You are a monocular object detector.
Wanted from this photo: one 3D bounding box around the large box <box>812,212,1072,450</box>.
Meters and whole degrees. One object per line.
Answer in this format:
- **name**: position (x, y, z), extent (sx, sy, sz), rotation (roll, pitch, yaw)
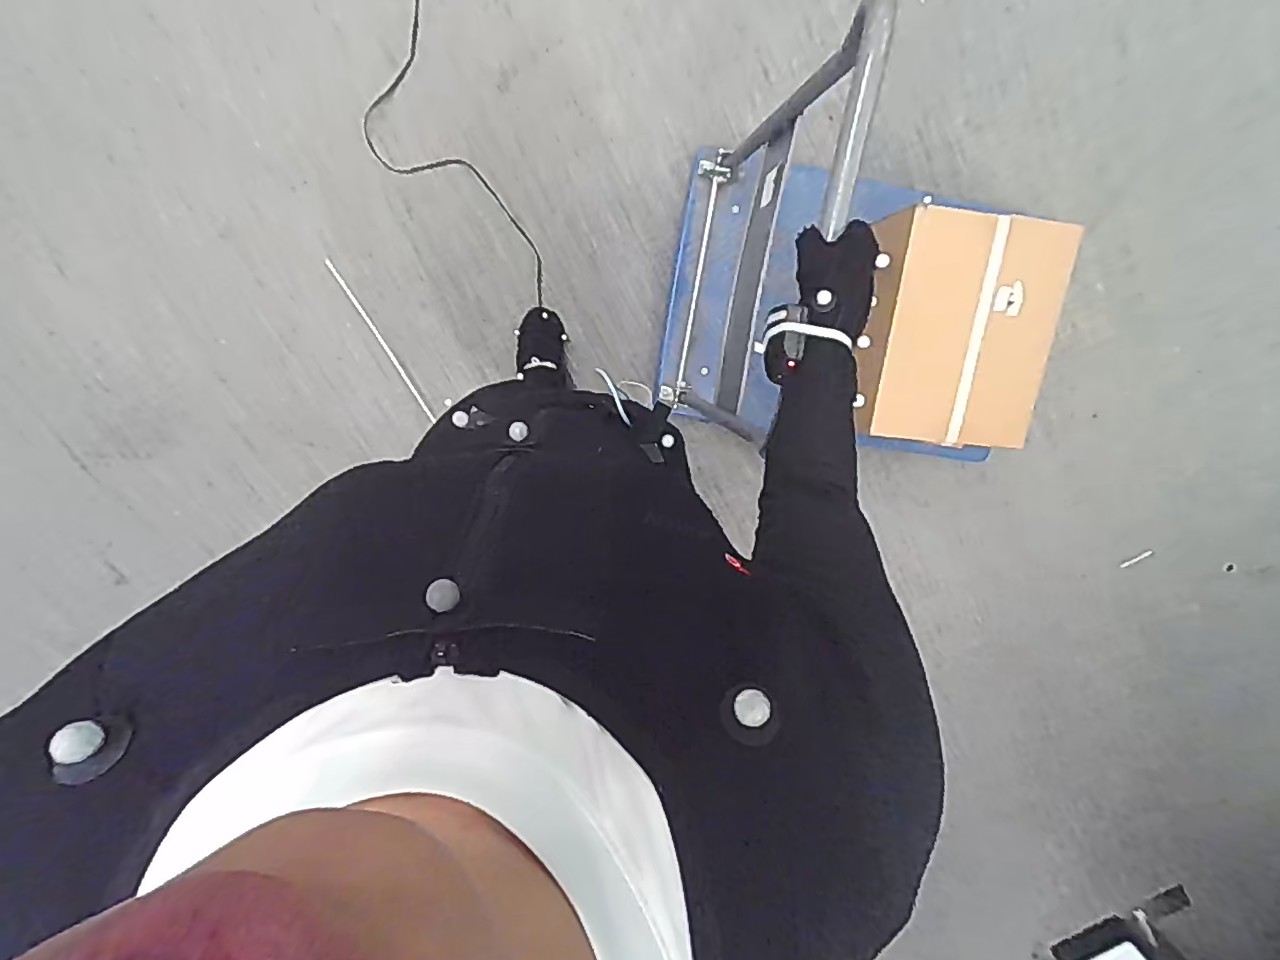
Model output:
- **large box**: position (0.585, -0.290, 1.127), extent (0.320, 0.320, 0.408), rotation (5, 103, -6)
